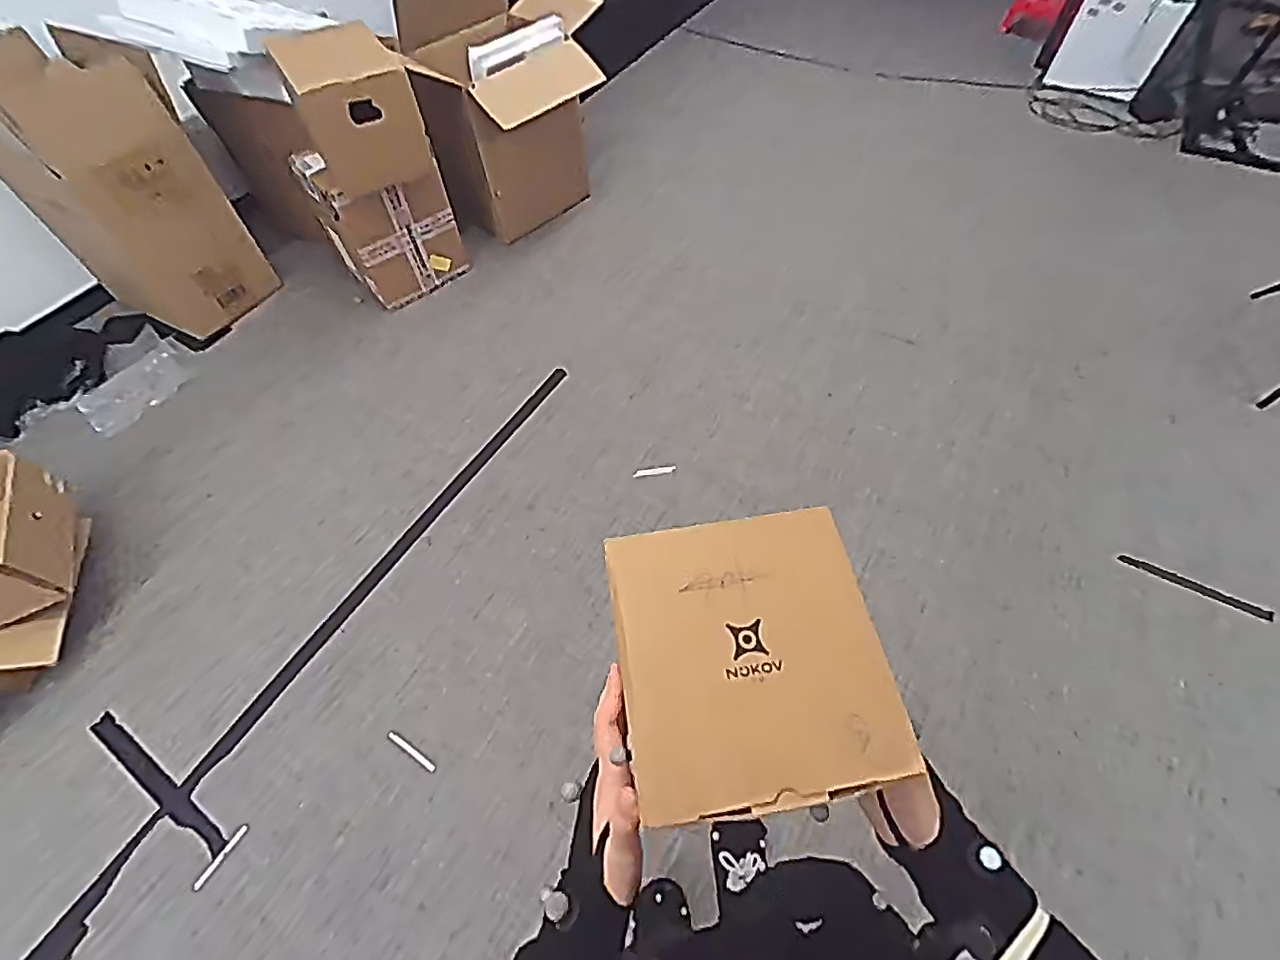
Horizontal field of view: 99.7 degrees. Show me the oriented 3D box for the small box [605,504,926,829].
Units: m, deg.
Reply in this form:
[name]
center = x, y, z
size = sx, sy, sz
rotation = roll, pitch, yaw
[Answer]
[small box]
center = 0.069, 0.142, 0.407
size = 0.168, 0.176, 0.179
rotation = -8, 60, -6
